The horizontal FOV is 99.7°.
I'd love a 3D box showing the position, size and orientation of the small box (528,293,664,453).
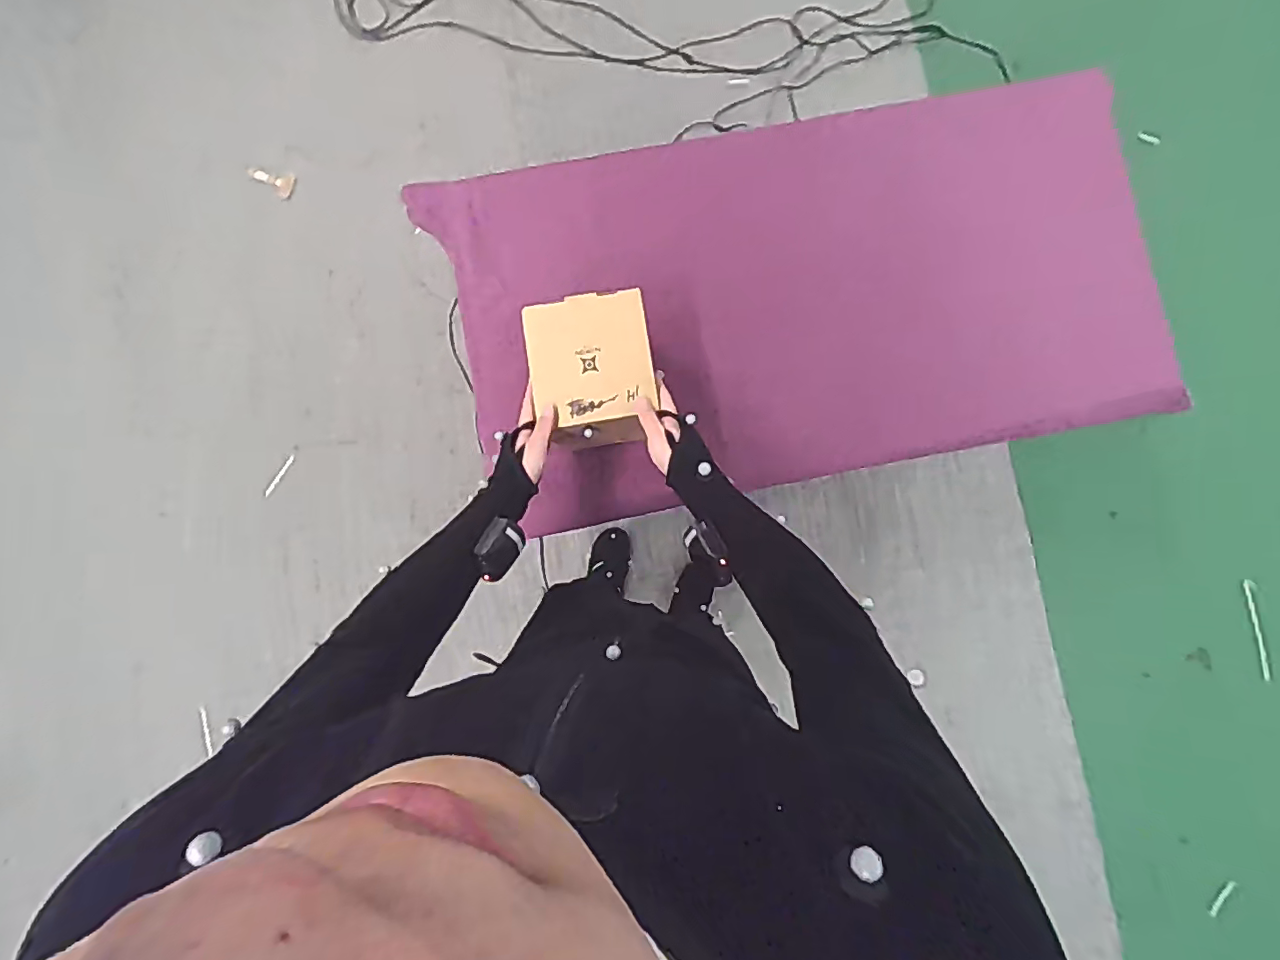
[{"bbox_3d":[-0.057,-0.146,0.795,0.168,0.176,0.179,-9,84,3],"label":"small box"}]
